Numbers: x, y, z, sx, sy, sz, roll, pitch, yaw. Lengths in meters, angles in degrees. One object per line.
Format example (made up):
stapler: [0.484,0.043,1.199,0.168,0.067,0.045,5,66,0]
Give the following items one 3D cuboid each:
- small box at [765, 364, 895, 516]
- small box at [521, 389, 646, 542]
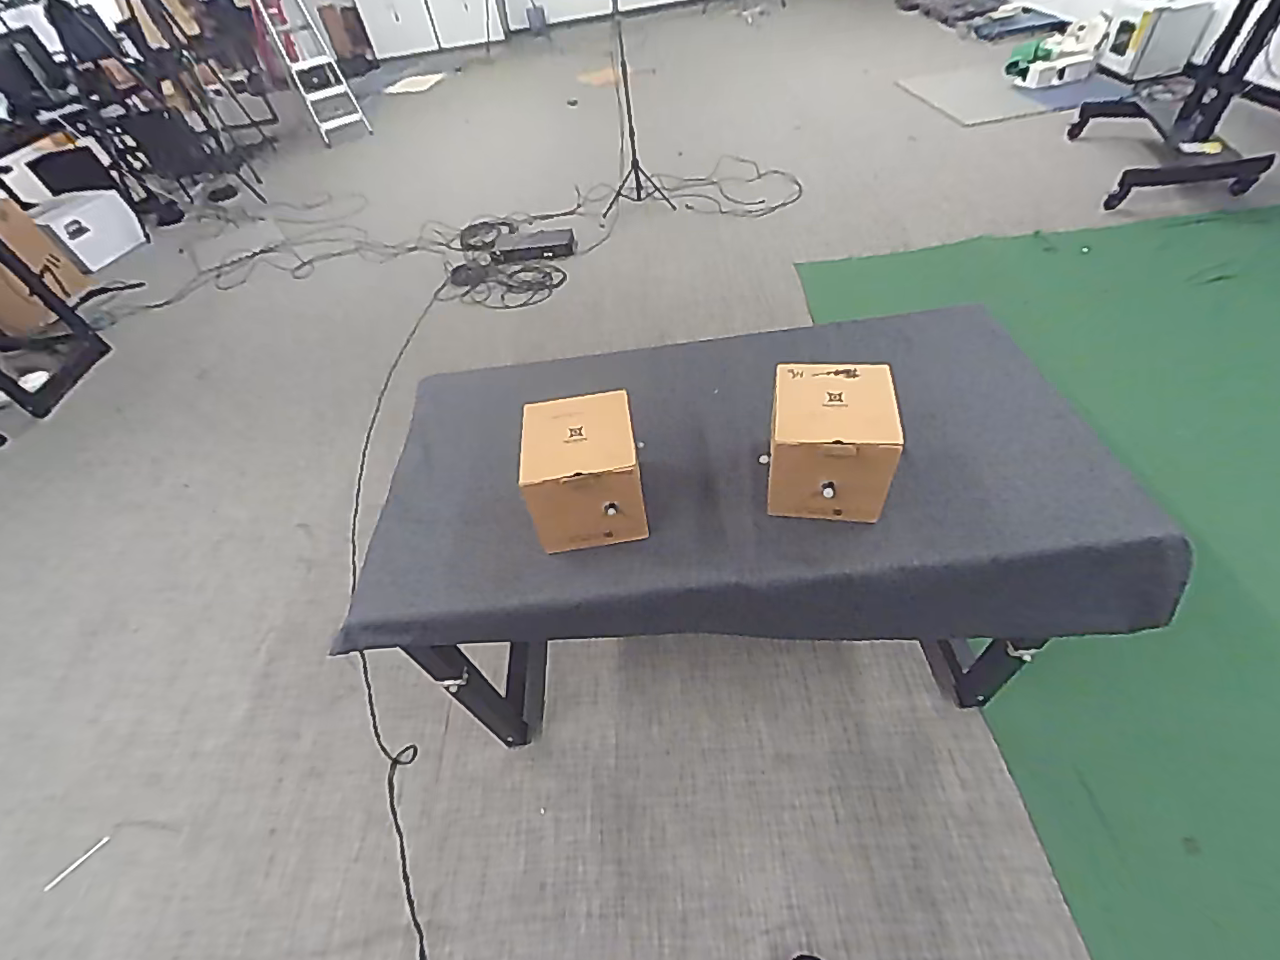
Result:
small box: [0.286,-0.061,0.843,0.168,0.176,0.179,4,50,12]
small box: [-0.086,-0.017,0.862,0.168,0.176,0.179,-8,46,-1]
